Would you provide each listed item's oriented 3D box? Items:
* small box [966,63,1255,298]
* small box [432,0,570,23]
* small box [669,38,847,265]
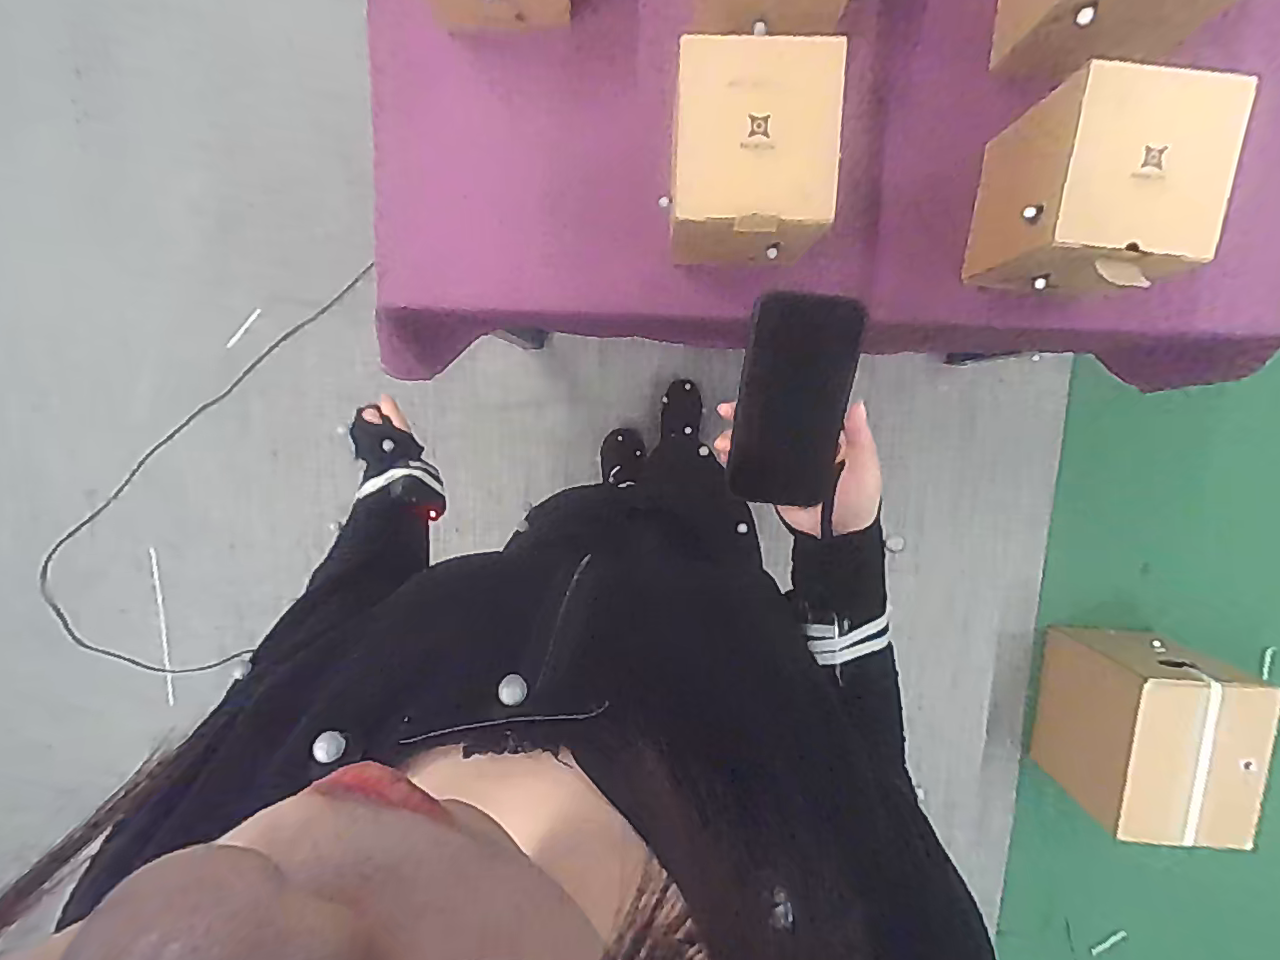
[{"bbox_3d":[0.508,-0.322,0.615,0.168,0.176,0.179,7,98,1],"label":"small box"},{"bbox_3d":[-0.171,-0.640,0.587,0.168,0.176,0.179,-2,99,1],"label":"small box"},{"bbox_3d":[0.121,-0.357,0.621,0.168,0.176,0.179,2,97,1],"label":"small box"}]
